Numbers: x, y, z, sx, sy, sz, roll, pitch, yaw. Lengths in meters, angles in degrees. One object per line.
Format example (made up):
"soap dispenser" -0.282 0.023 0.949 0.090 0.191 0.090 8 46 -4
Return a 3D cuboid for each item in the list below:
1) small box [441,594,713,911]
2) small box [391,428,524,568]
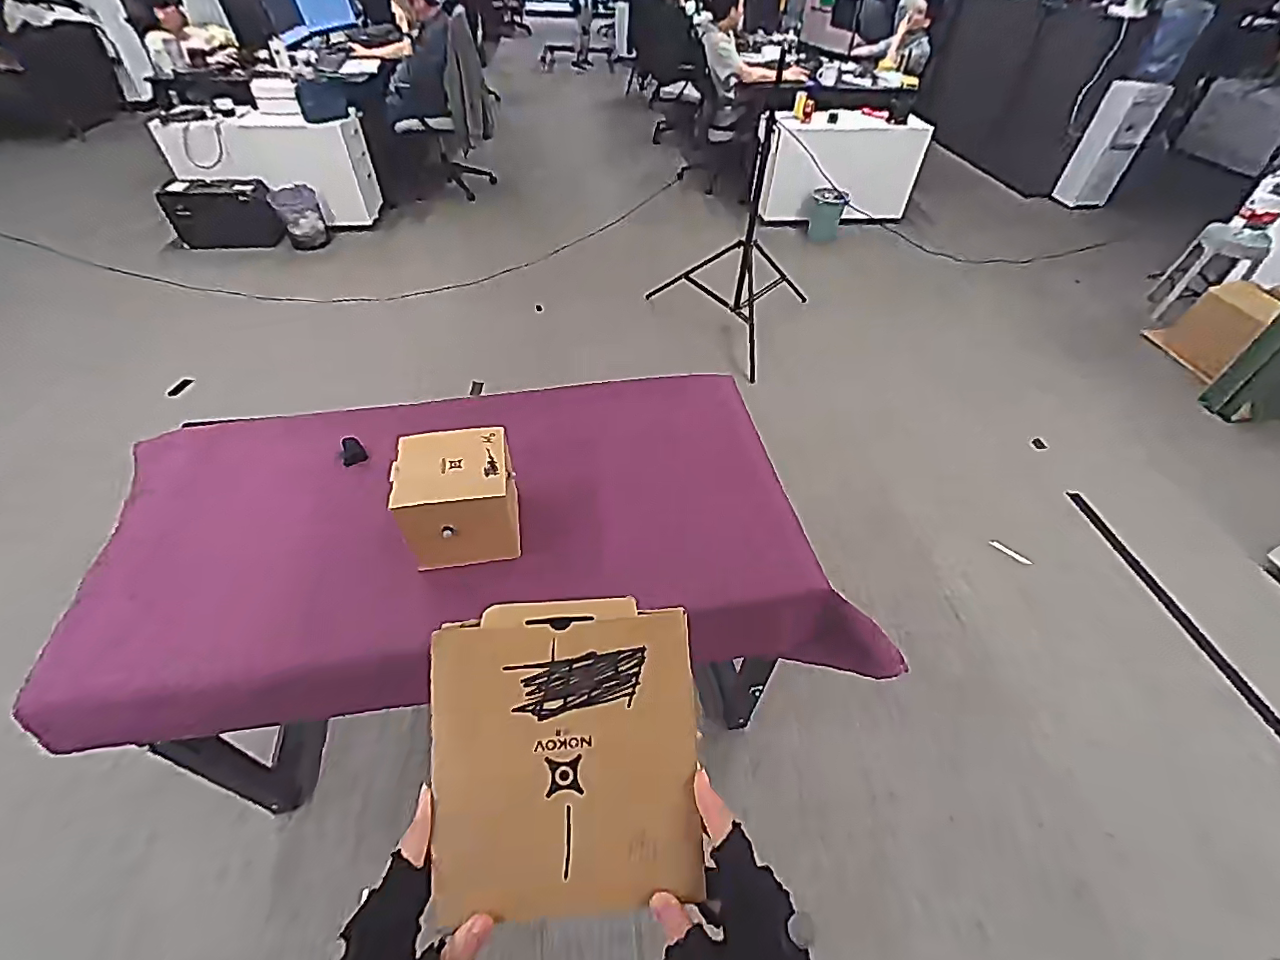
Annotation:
"small box" -0.046 0.187 0.422 0.168 0.176 0.179 -3 76 -4
"small box" -0.303 0.034 0.930 0.179 0.176 0.168 -8 47 -8
